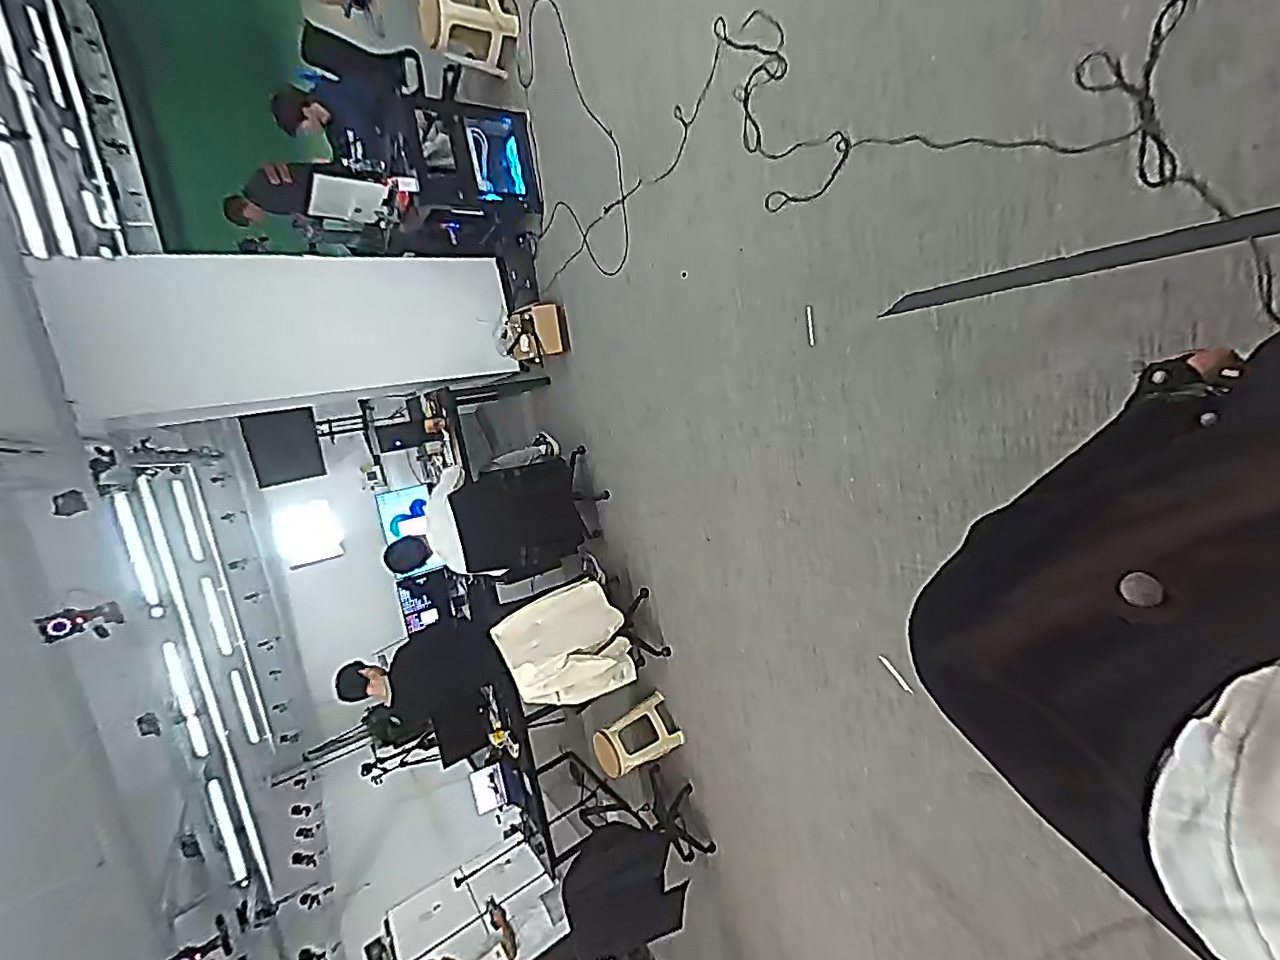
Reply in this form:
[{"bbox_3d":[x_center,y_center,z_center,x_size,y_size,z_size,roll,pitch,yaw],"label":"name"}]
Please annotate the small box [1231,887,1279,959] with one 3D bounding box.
[{"bbox_3d":[0.949,0.727,0.740,0.168,0.176,0.179,-1,102,55],"label":"small box"}]
